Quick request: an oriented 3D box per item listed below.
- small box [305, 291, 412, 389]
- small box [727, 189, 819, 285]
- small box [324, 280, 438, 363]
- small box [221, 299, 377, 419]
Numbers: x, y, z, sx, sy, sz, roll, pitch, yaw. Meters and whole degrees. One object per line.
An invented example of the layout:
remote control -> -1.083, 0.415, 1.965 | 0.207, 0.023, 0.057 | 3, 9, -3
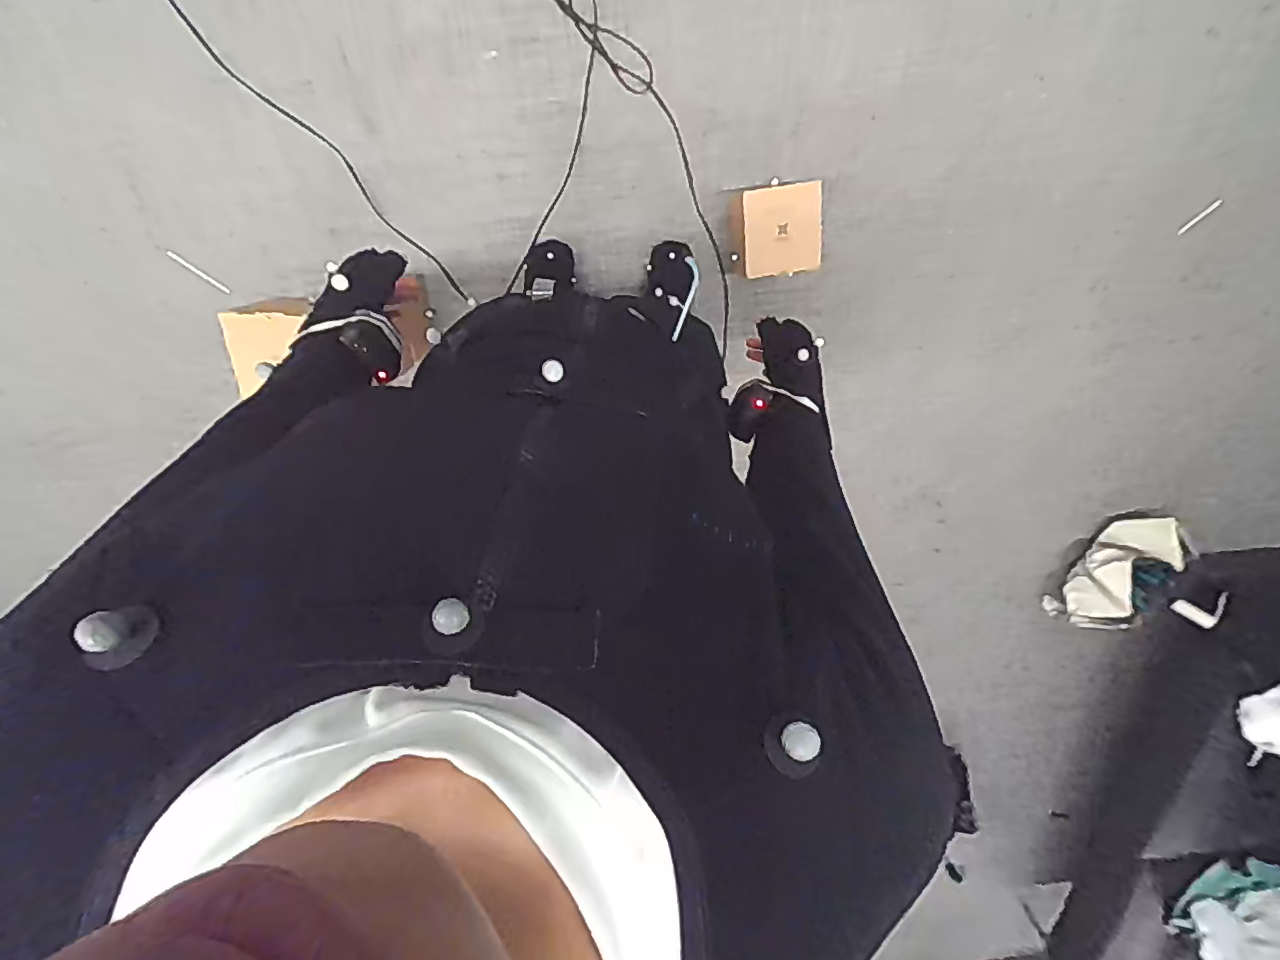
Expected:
small box -> -0.599, -0.295, 1.129 | 0.168, 0.176, 0.179 | -3, 117, -1
small box -> 0.295, -0.553, 1.226 | 0.168, 0.176, 0.179 | -7, 116, 0
small box -> -0.601, -0.373, 1.277 | 0.168, 0.176, 0.179 | -5, 115, 3
small box -> -0.602, -0.223, 0.983 | 0.168, 0.176, 0.179 | 1, 115, -3
